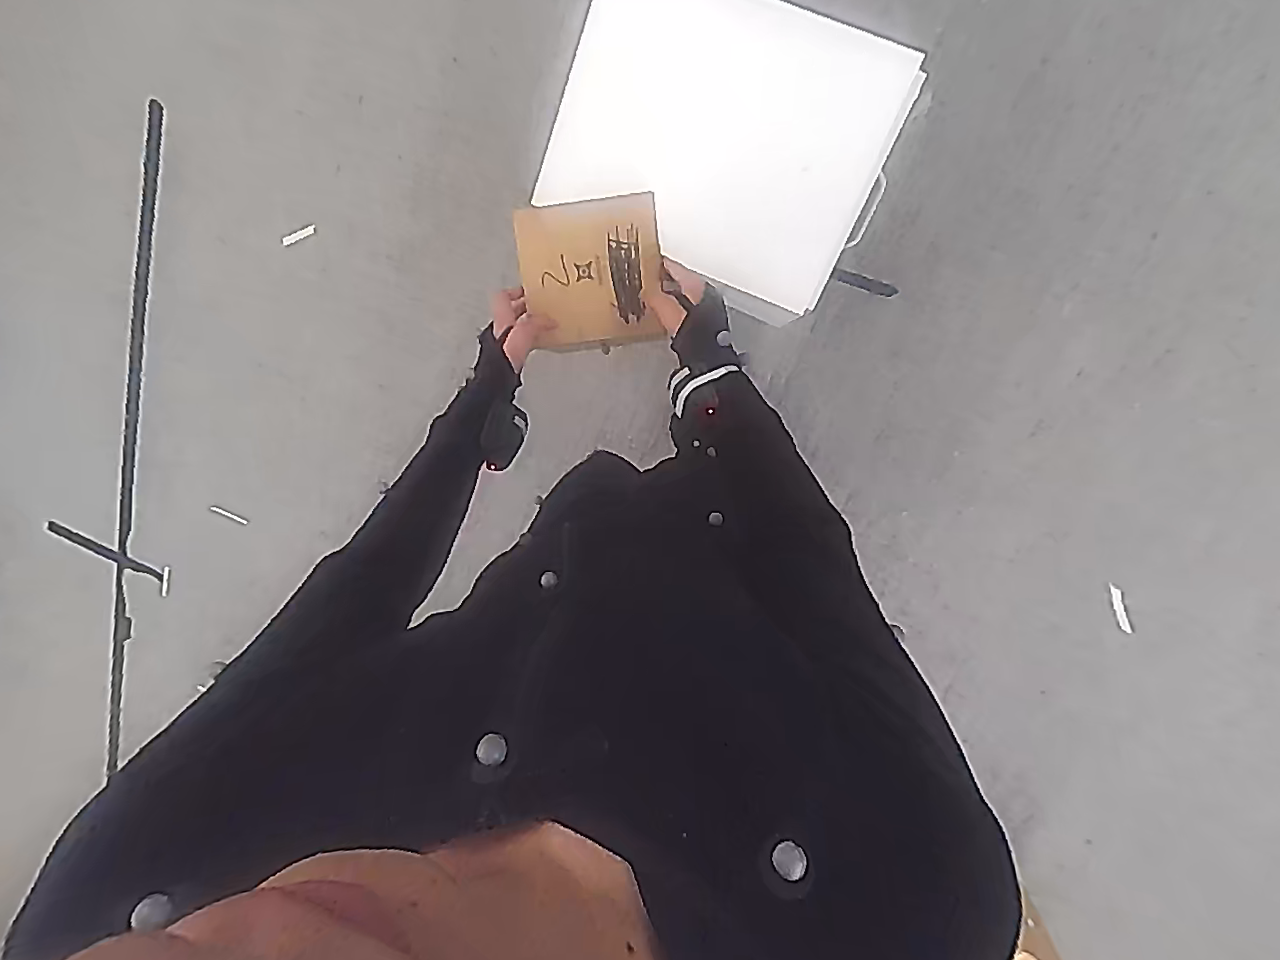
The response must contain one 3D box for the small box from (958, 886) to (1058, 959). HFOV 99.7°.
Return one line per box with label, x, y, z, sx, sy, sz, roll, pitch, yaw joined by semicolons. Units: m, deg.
small box;1.047;1.325;1.542;0.168;0.176;0.179;31;107;1
